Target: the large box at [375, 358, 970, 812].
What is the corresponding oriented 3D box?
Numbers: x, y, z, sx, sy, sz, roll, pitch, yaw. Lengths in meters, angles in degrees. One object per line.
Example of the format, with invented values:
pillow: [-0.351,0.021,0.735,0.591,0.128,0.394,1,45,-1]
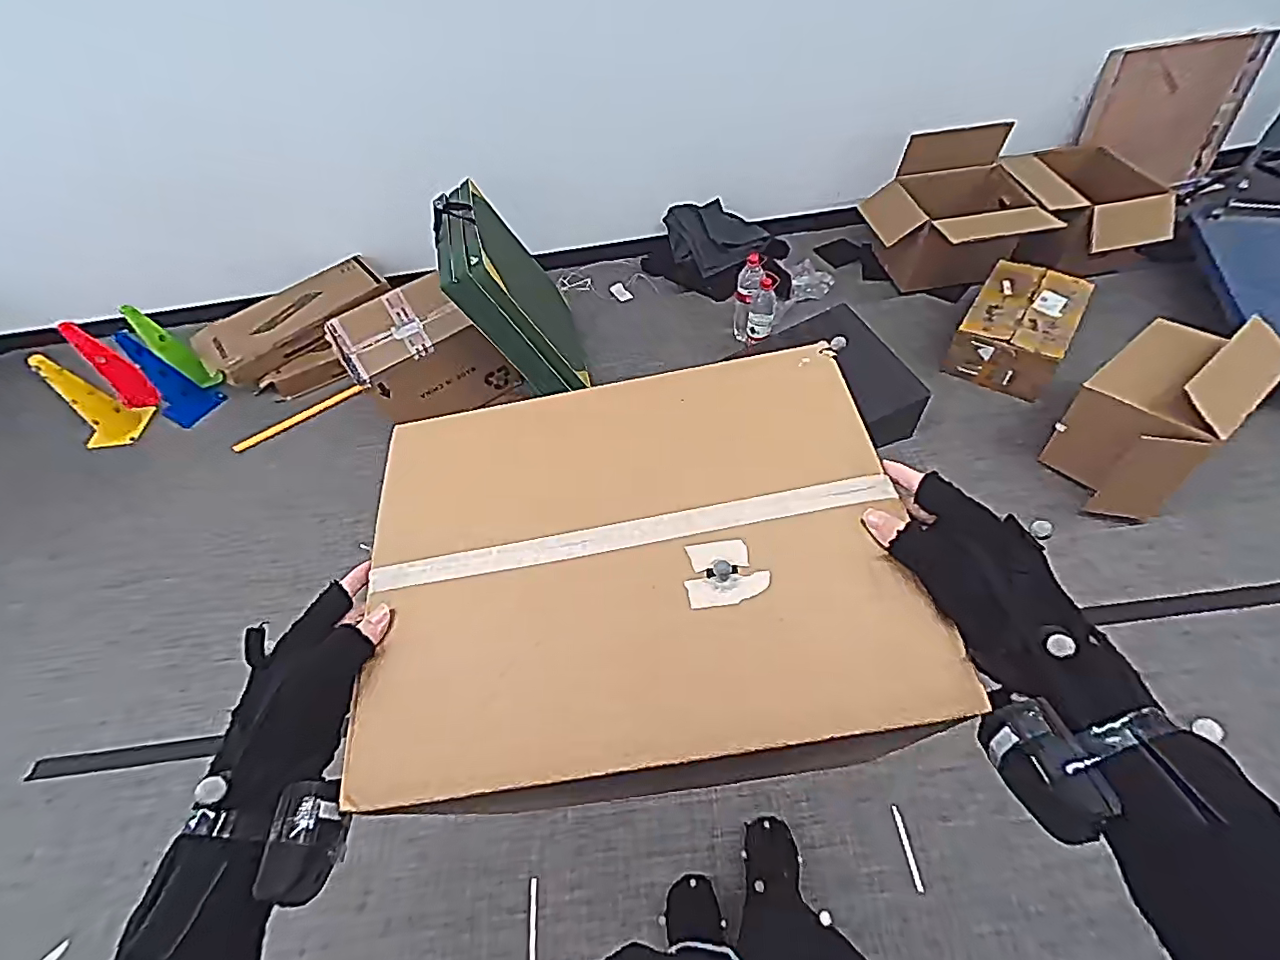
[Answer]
large box: [0.016,0.127,0.553,0.408,0.320,0.320,-10,58,2]
